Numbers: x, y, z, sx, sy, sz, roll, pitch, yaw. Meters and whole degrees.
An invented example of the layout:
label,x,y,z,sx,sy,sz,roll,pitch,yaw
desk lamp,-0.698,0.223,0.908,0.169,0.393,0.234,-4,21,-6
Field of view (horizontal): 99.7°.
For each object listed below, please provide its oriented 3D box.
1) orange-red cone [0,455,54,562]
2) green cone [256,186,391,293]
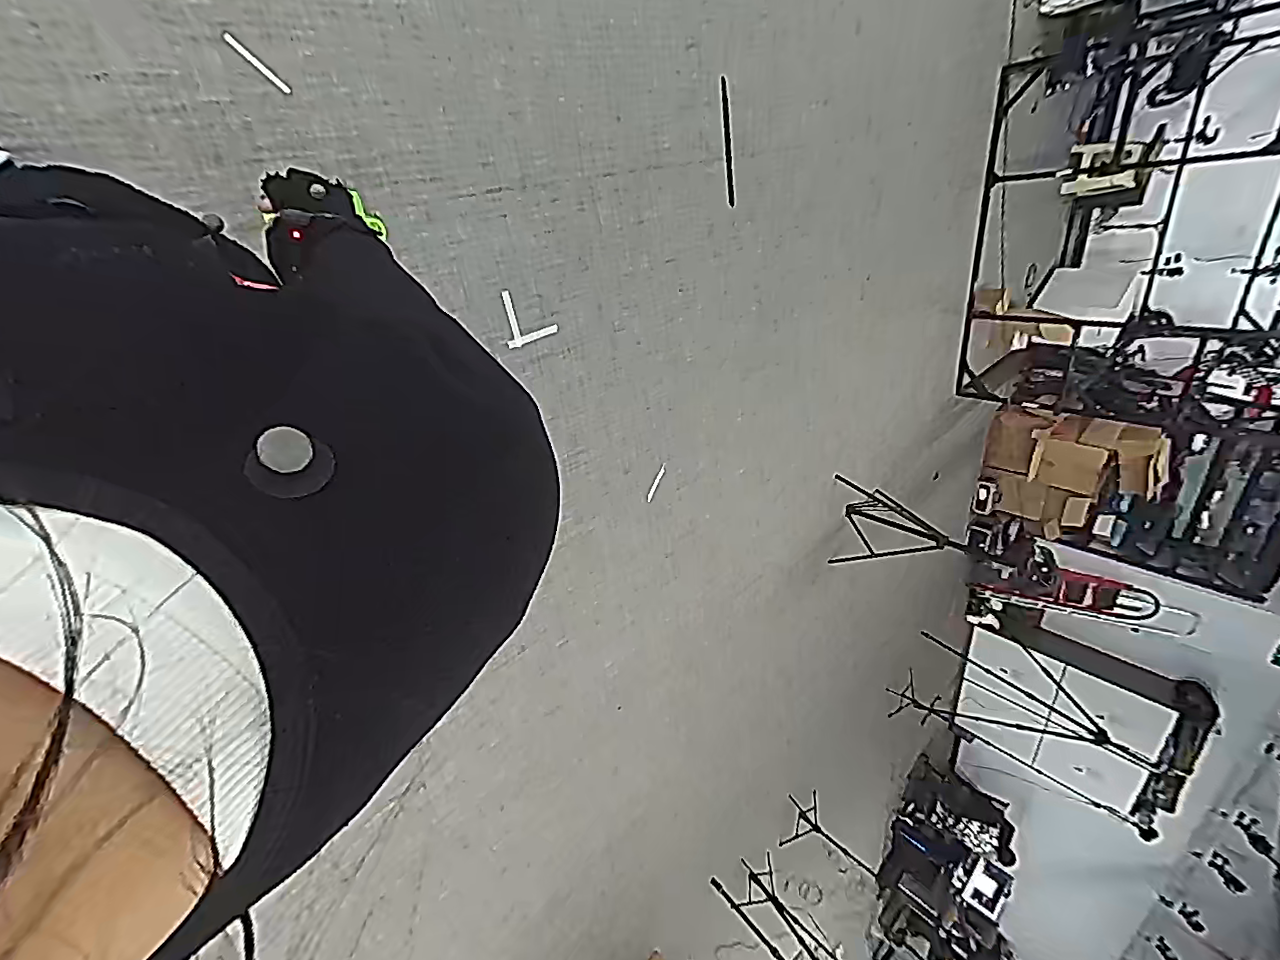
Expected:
label,x,y,z,sx,sy,sz,roll,pitch,yaw
orange-red cone,-1.085,0.109,0.823,0.199,0.360,0.198,-23,119,-34
green cone,-0.581,-0.481,1.068,0.202,0.368,0.200,-29,124,-34
